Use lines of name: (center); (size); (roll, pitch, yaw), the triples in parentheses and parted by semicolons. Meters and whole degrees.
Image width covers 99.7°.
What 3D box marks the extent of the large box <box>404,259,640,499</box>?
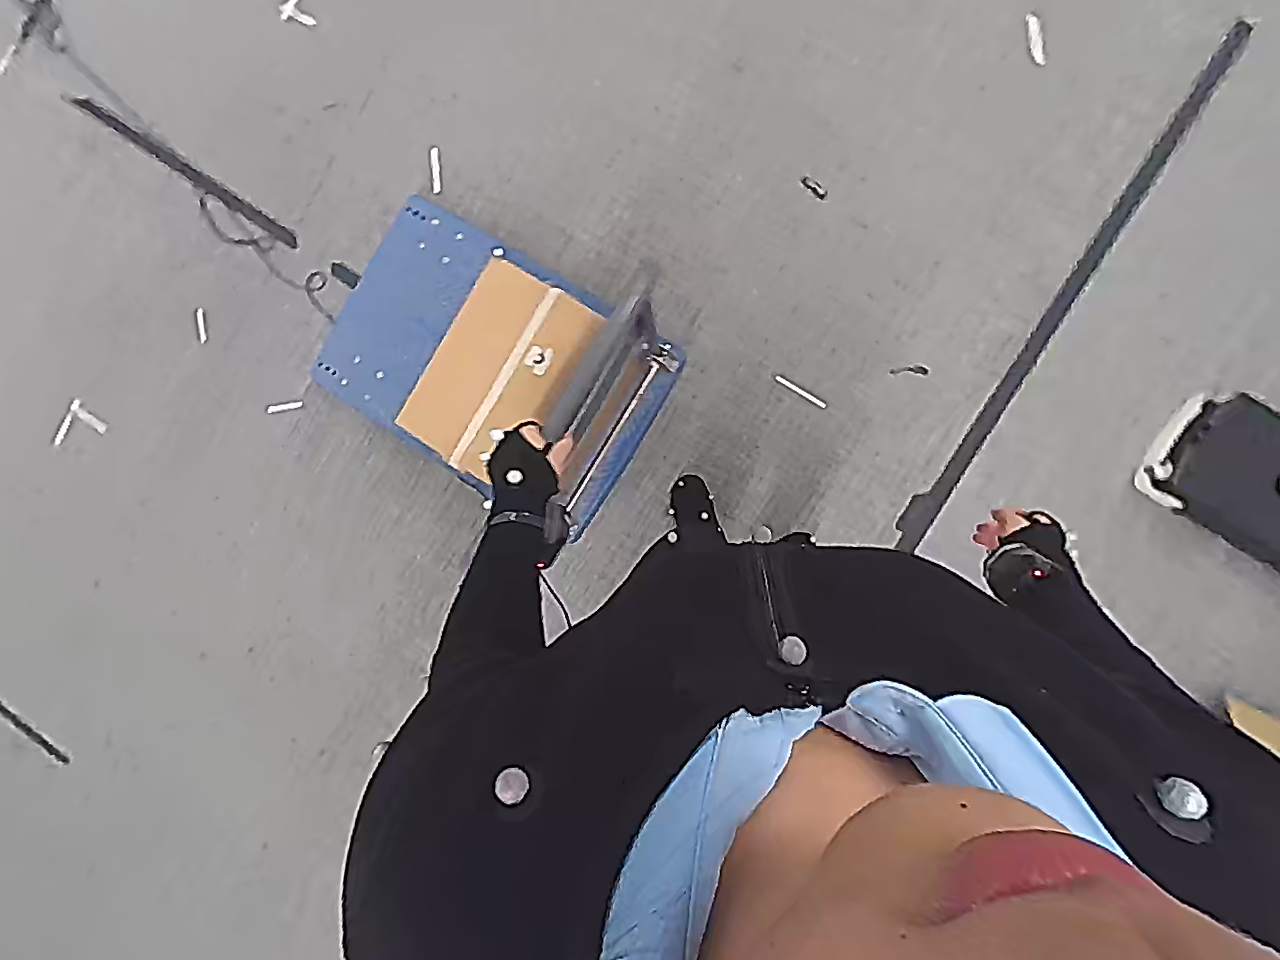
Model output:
large box: (-0.245, -0.201, 1.240); (0.320, 0.320, 0.408); (32, 92, 6)
